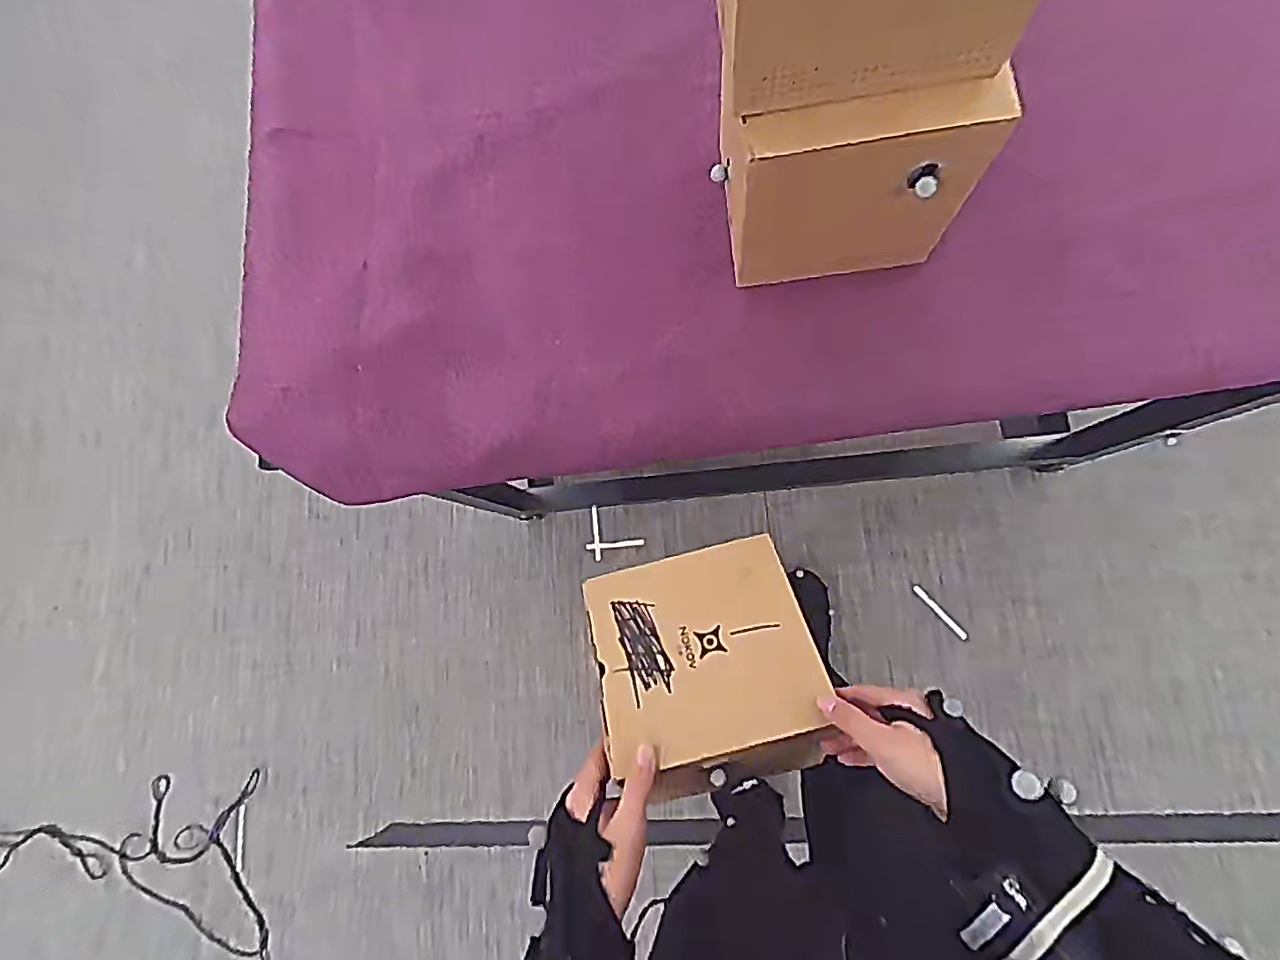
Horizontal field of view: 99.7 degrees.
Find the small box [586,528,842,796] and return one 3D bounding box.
[{"bbox_3d":[0.060,0.173,0.499,0.179,0.176,0.168,-14,52,-1],"label":"small box"}]

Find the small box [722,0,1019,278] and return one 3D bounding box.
[{"bbox_3d":[0.165,-0.292,0.451,0.179,0.176,0.168,-5,79,7],"label":"small box"}]
